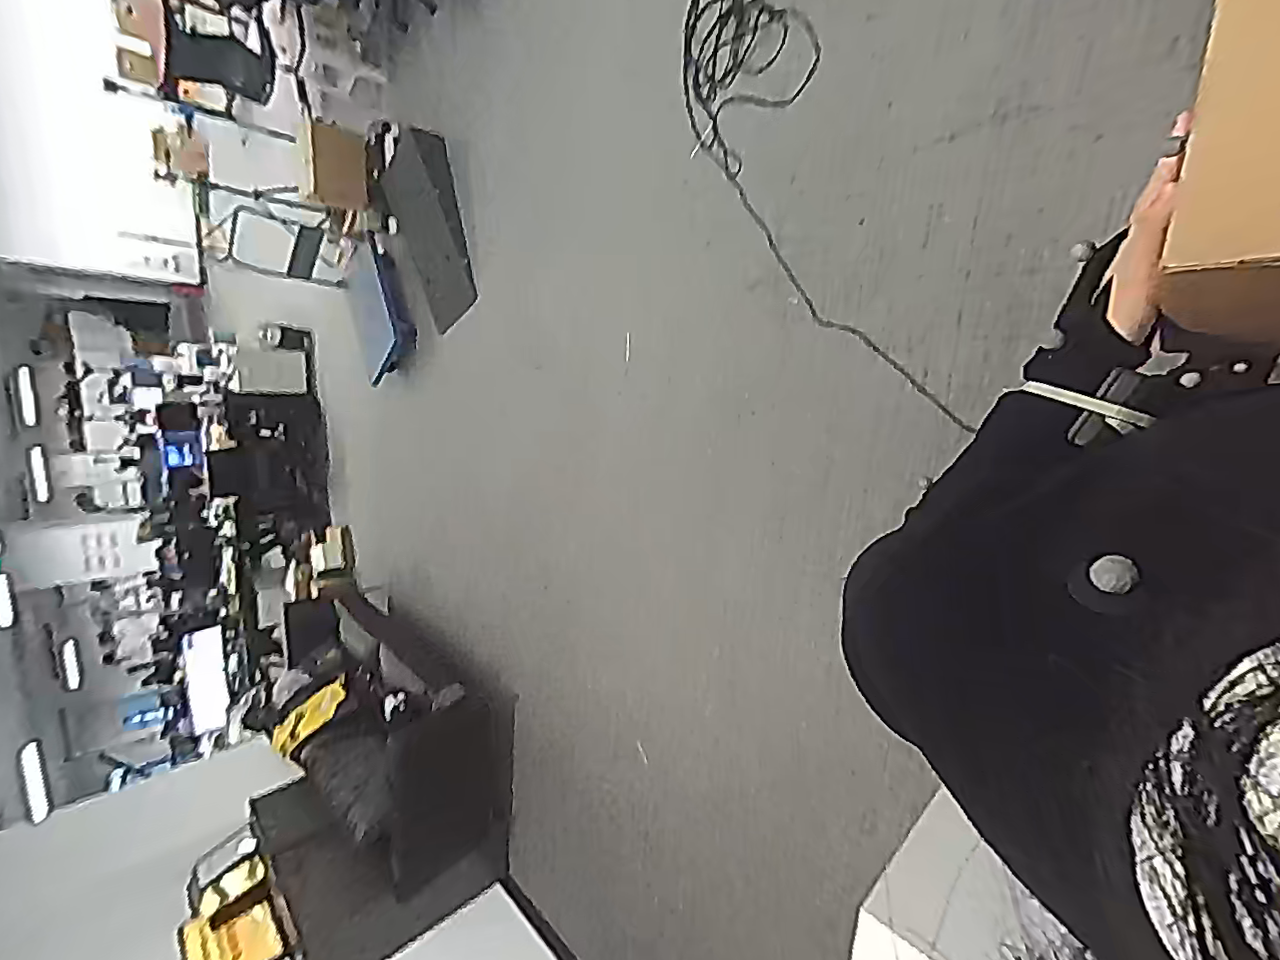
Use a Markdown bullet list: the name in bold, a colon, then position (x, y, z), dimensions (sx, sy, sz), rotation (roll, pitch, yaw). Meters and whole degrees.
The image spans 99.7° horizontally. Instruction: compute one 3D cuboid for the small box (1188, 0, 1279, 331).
- **small box**: position (0.430, -0.195, 0.295), dimensions (0.168, 0.176, 0.179), rotation (12, 92, 46)
